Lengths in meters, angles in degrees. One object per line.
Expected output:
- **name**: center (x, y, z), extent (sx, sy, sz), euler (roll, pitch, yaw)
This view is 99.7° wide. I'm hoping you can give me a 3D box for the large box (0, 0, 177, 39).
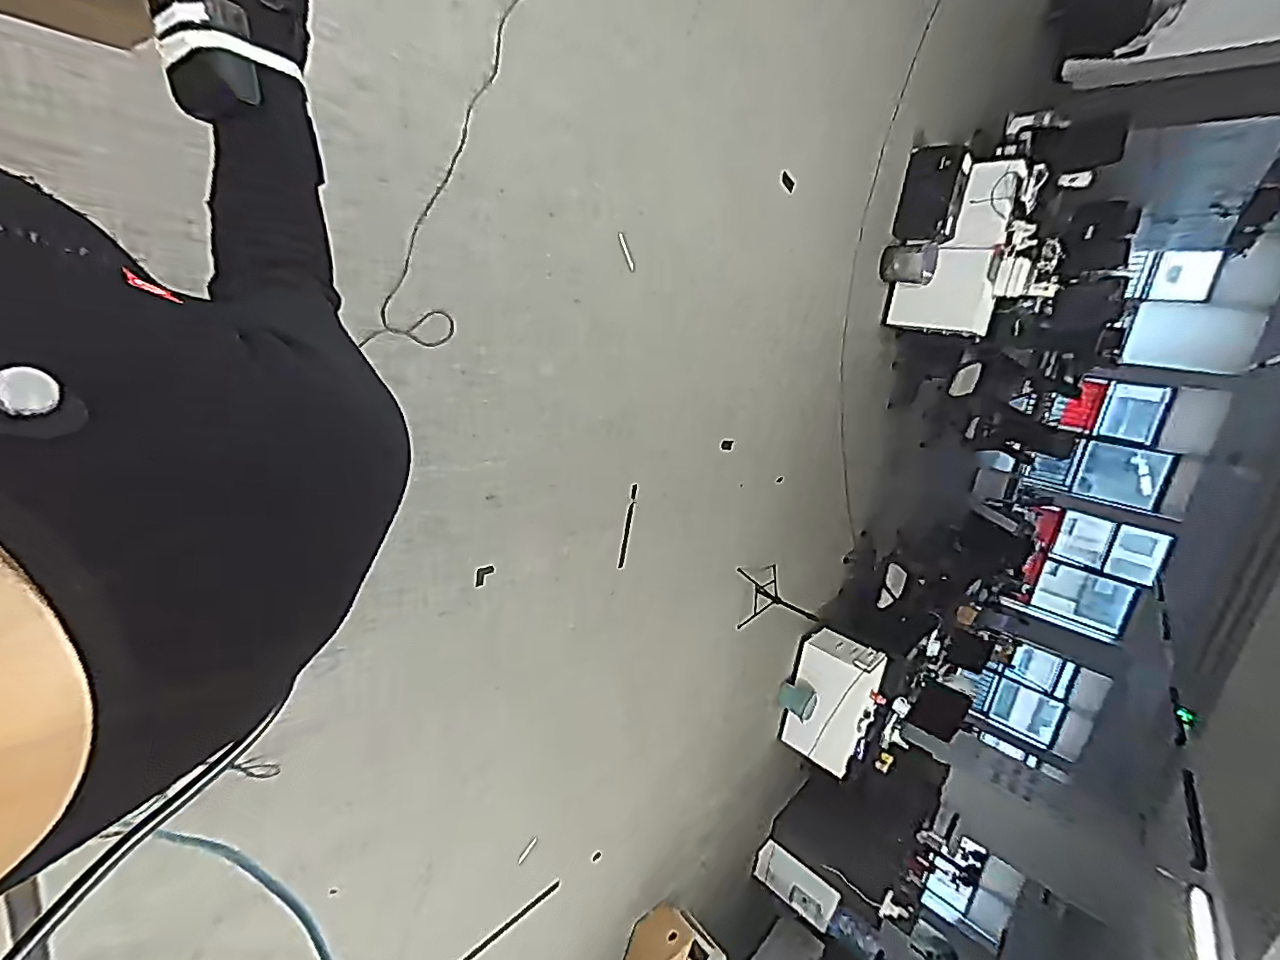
- **large box**: center (-0.528, -0.498, 0.269), extent (0.408, 0.320, 0.320), euler (-16, 123, -48)
